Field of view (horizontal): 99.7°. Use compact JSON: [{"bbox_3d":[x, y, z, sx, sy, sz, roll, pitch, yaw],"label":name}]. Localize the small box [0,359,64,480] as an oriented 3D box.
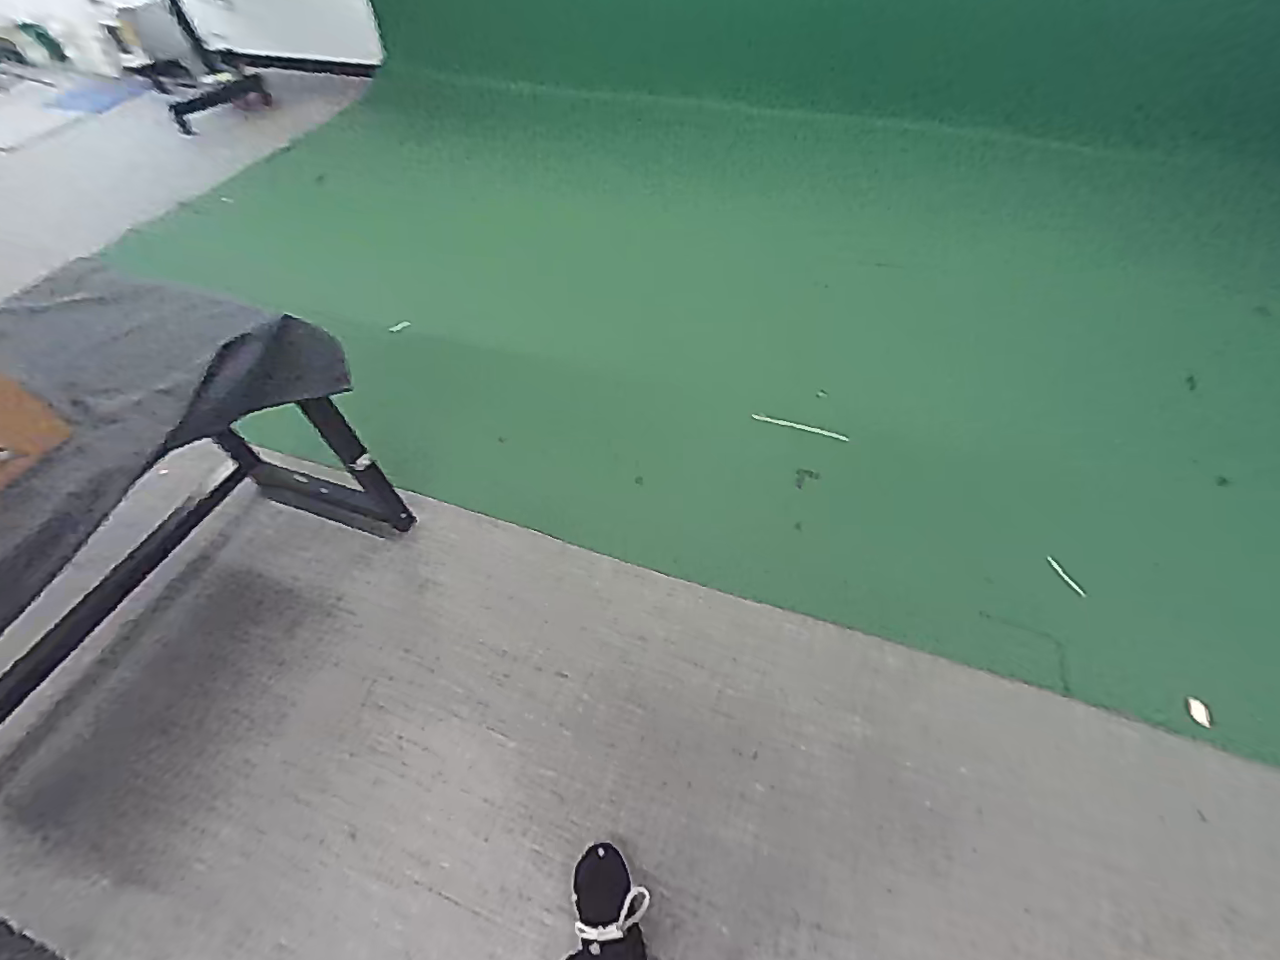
[{"bbox_3d":[-1.015,-0.098,0.783,0.168,0.176,0.179,17,55,14],"label":"small box"}]
